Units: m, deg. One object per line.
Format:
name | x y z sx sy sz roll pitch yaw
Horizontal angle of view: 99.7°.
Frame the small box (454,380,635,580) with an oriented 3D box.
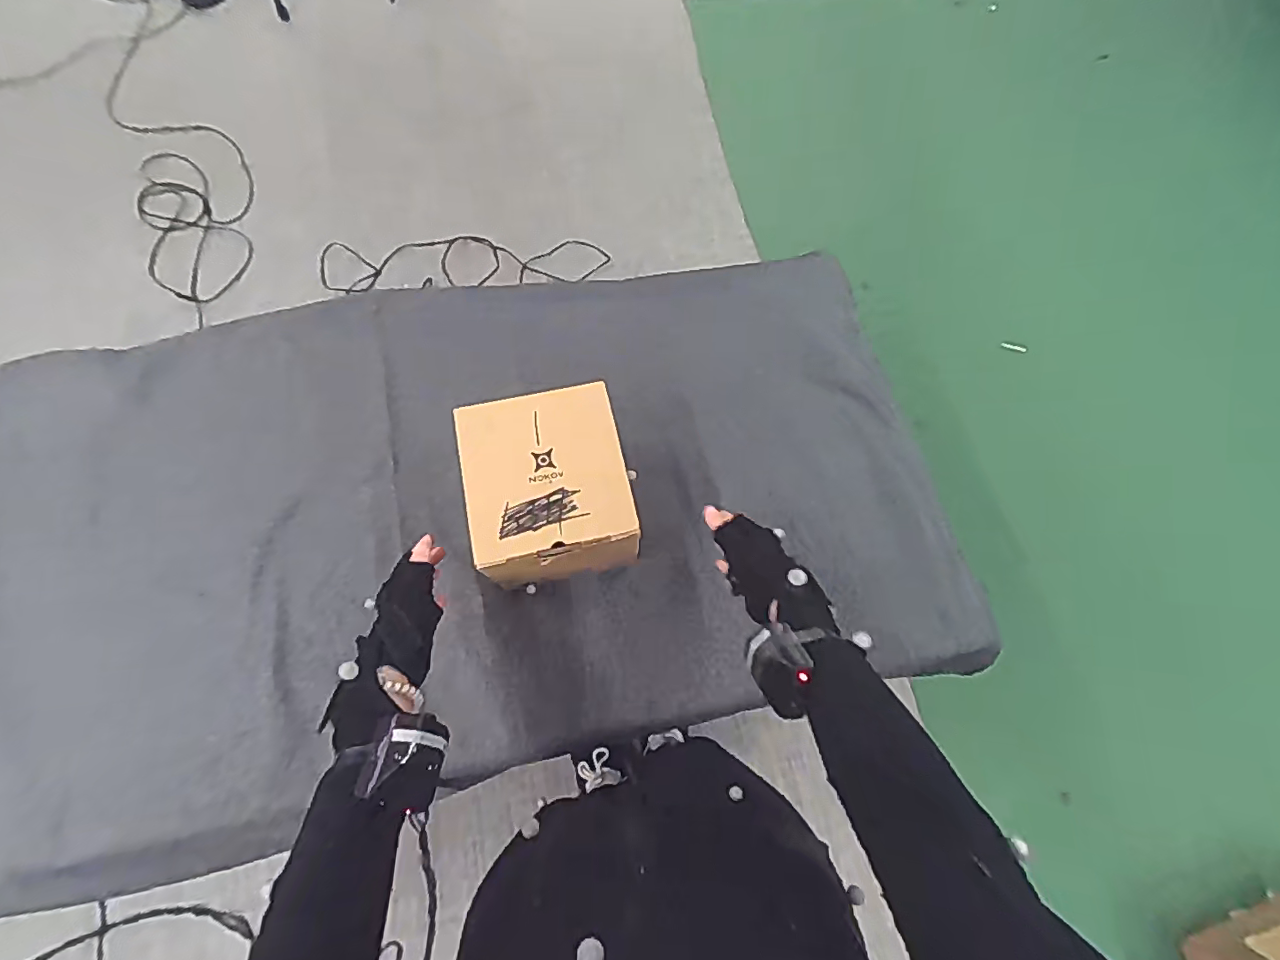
small box | -0.101 0.012 0.627 0.168 0.176 0.179 -12 71 -6
